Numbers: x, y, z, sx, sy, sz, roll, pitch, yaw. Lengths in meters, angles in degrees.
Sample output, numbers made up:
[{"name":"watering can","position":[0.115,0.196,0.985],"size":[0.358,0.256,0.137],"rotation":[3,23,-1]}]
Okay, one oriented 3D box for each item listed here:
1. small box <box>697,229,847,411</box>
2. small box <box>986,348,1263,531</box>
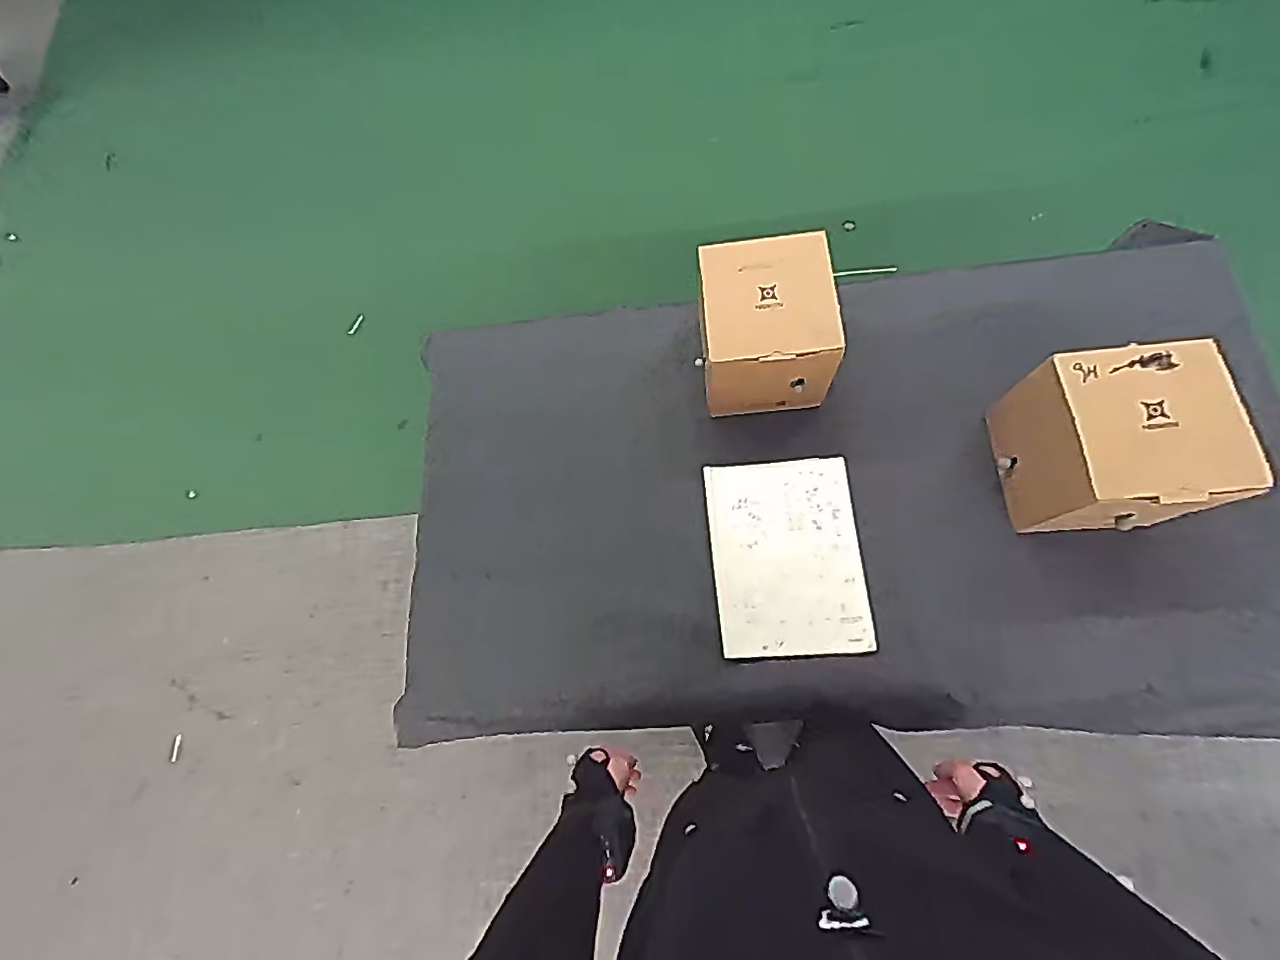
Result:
[{"name":"small box","position":[0.170,-0.205,0.742],"size":[0.168,0.176,0.179],"rotation":[-5,72,5]},{"name":"small box","position":[0.558,-0.036,0.655],"size":[0.168,0.176,0.179],"rotation":[-4,74,6]}]
